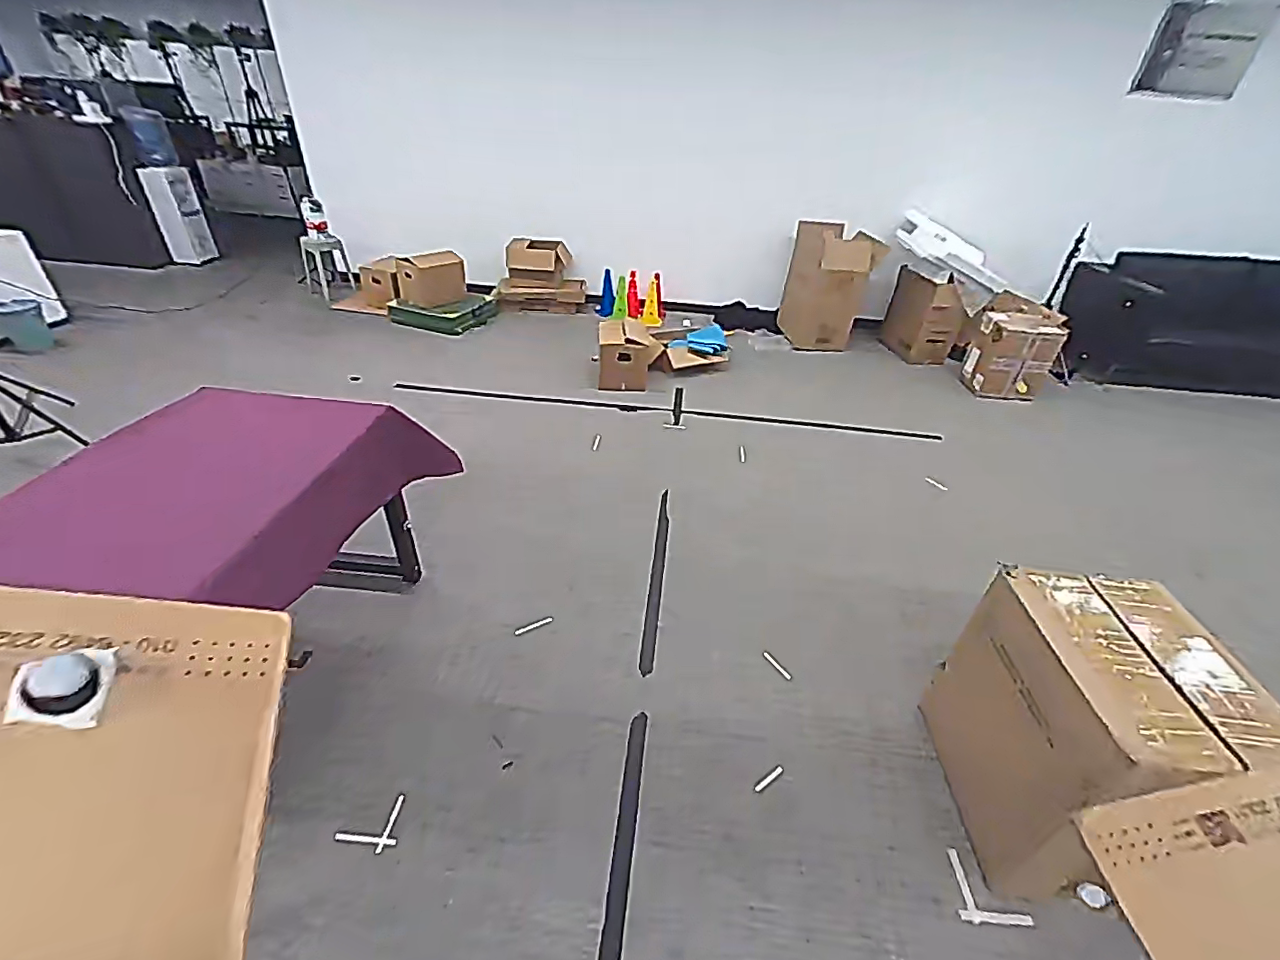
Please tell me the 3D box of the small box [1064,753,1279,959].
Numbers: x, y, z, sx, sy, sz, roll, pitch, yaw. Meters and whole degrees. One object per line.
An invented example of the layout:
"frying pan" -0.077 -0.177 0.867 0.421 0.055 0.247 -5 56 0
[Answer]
"small box" 0.367 0.250 0.285 0.168 0.179 0.176 -31 44 22
